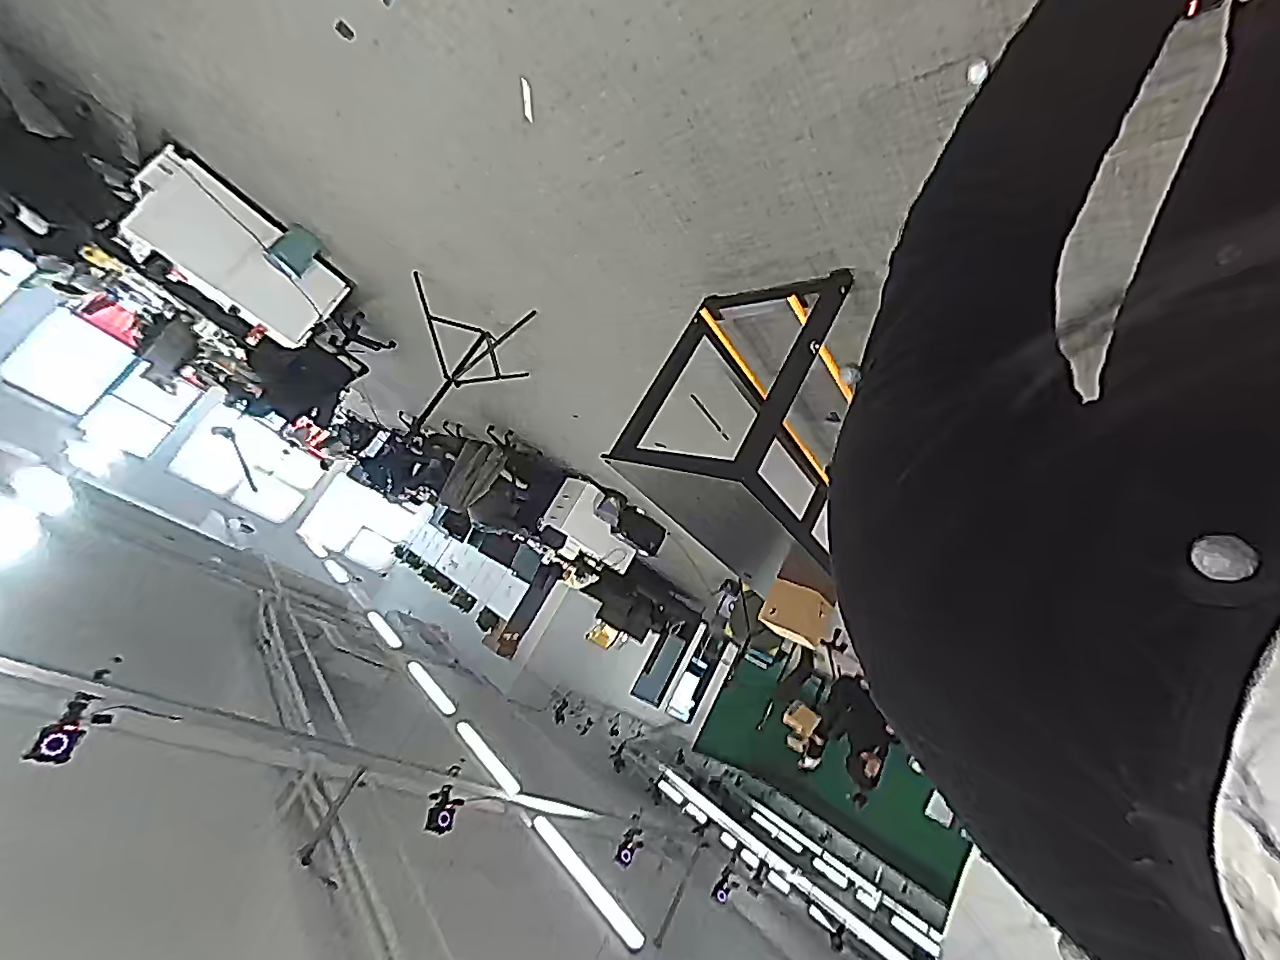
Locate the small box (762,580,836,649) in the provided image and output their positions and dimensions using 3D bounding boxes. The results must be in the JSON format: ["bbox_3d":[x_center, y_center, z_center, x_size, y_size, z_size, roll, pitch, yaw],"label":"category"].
[{"bbox_3d":[0.582,0.483,1.971,0.179,0.176,0.168,13,158,48],"label":"small box"}]
